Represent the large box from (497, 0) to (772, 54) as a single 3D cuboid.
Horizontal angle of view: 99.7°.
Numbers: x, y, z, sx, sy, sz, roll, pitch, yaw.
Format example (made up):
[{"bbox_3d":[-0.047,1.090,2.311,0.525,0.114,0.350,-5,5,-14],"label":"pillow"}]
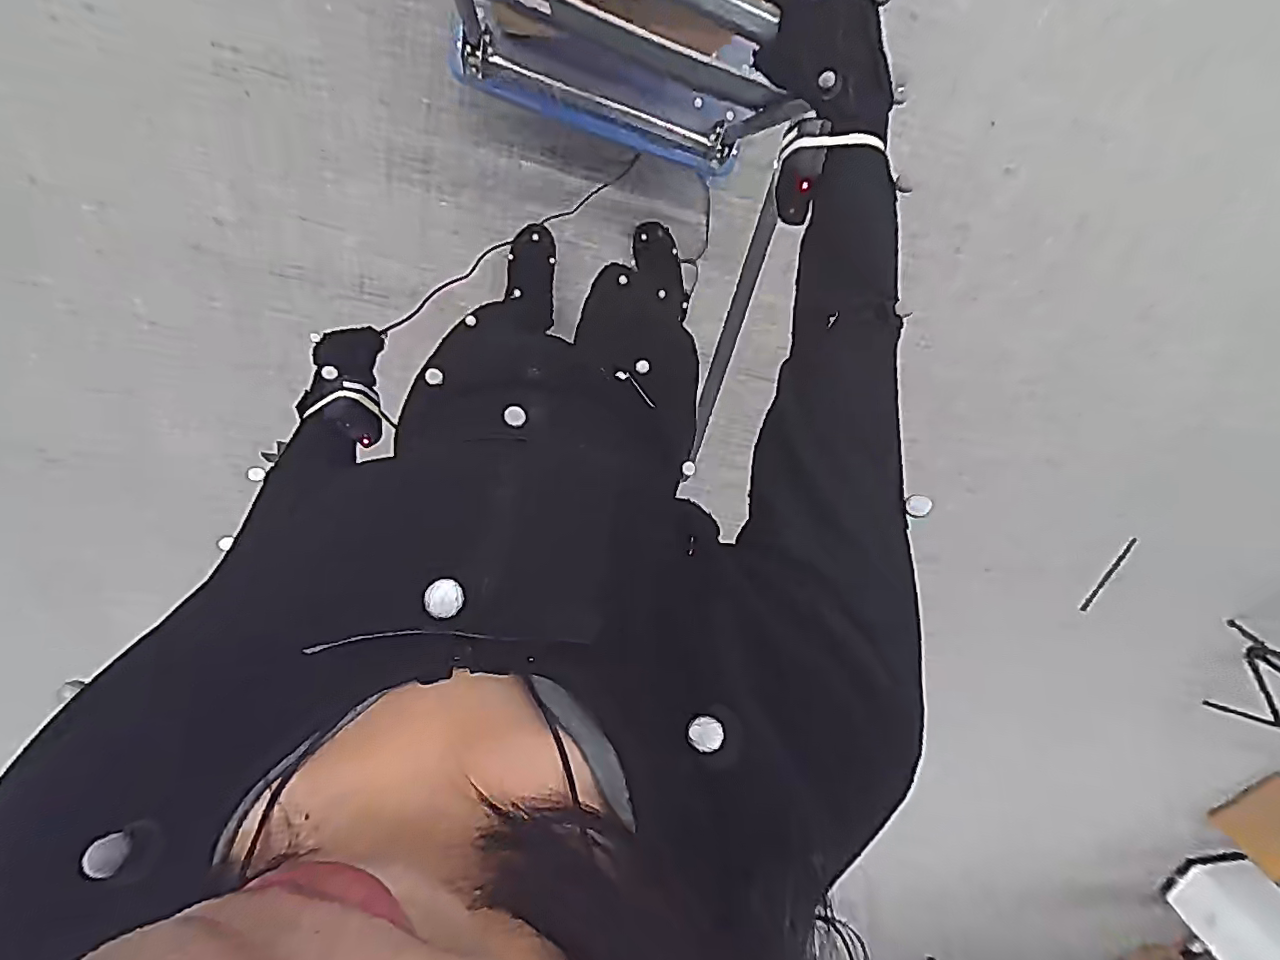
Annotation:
[{"bbox_3d":[-0.023,-0.875,0.807,0.408,0.320,0.320,-2,118,-9],"label":"large box"}]
